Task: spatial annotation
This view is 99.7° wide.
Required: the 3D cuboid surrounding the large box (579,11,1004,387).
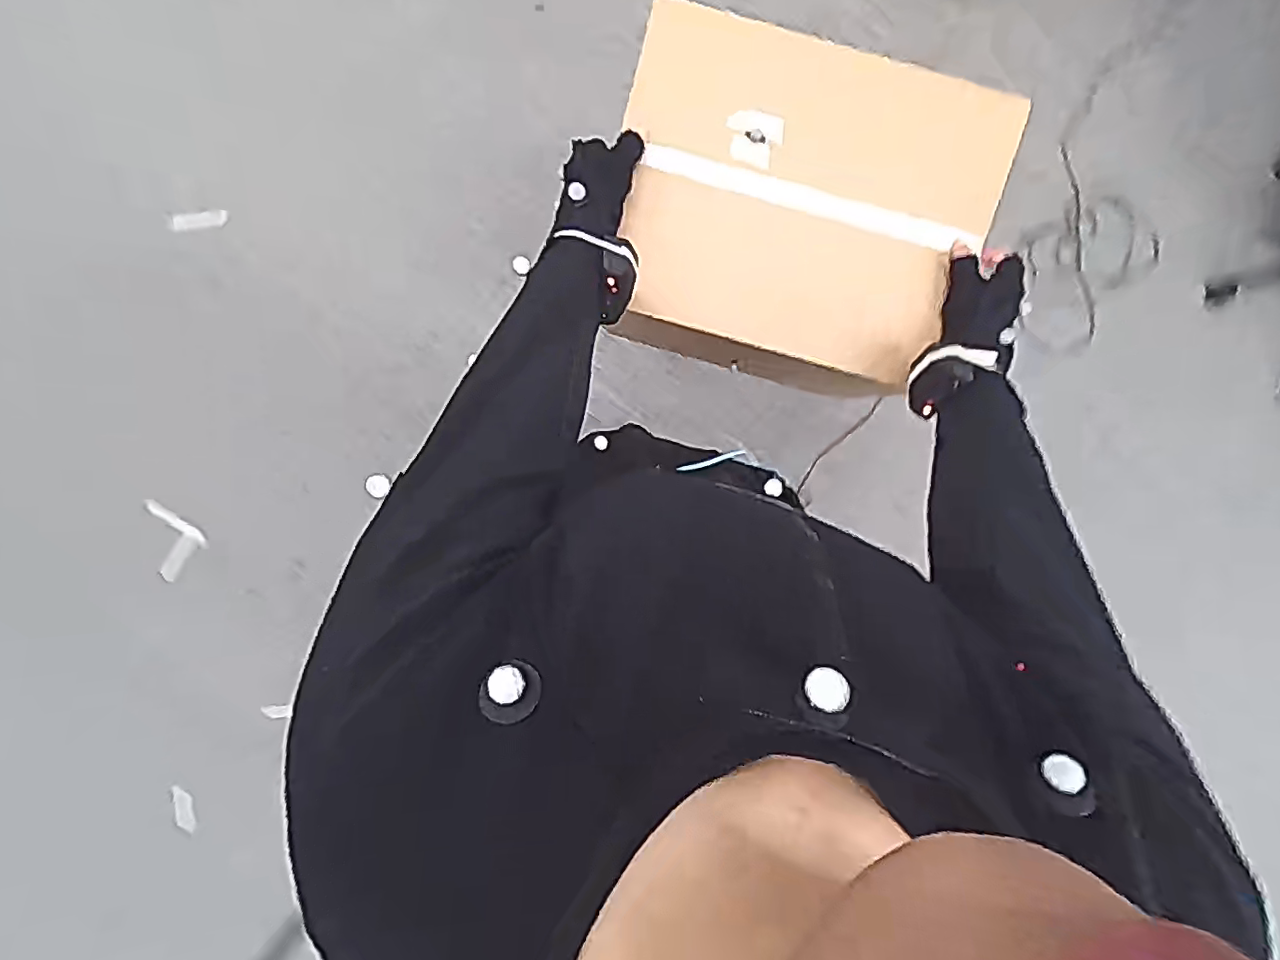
[{"bbox_3d":[0.164,-0.322,0.737,0.408,0.320,0.320,15,97,0],"label":"large box"}]
